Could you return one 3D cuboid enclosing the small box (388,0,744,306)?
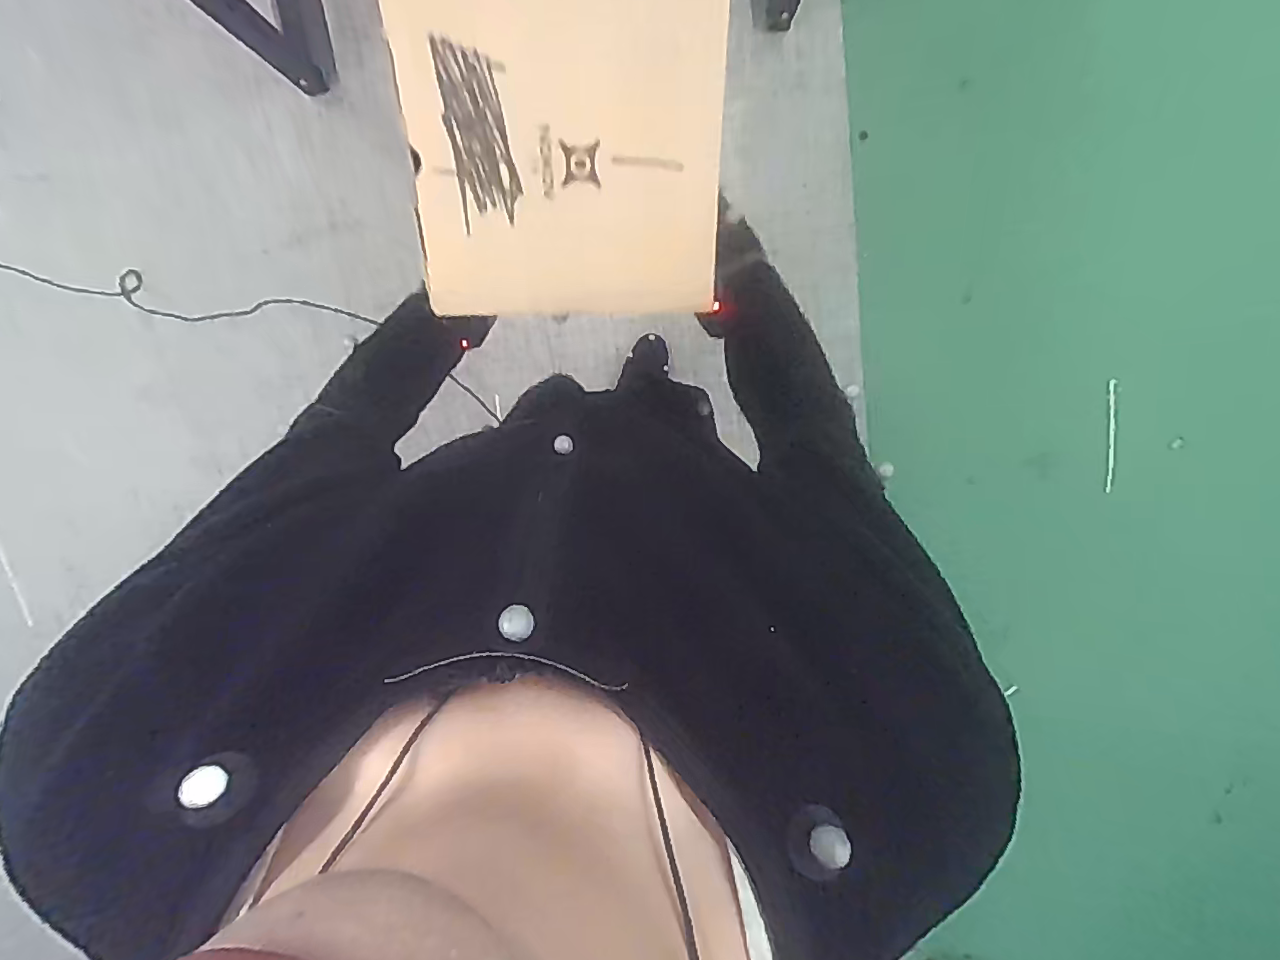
[{"bbox_3d":[-0.039,-0.215,0.363,0.179,0.176,0.168,-1,118,-3],"label":"small box"}]
